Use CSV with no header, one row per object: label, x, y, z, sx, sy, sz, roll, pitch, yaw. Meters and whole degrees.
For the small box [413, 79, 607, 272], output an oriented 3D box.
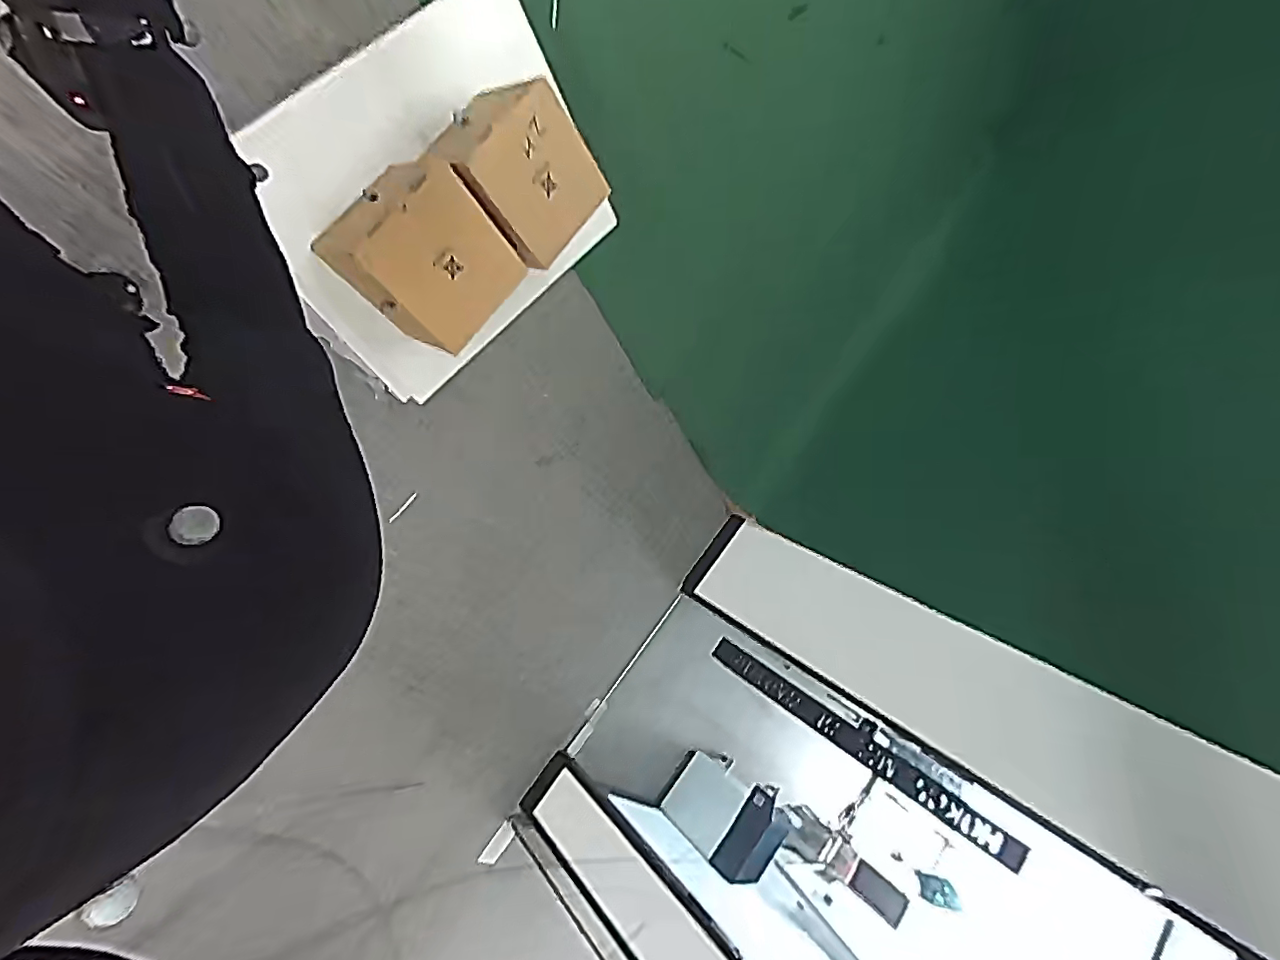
small box,-0.188,-0.435,0.788,0.168,0.176,0.179,-54,138,-11
